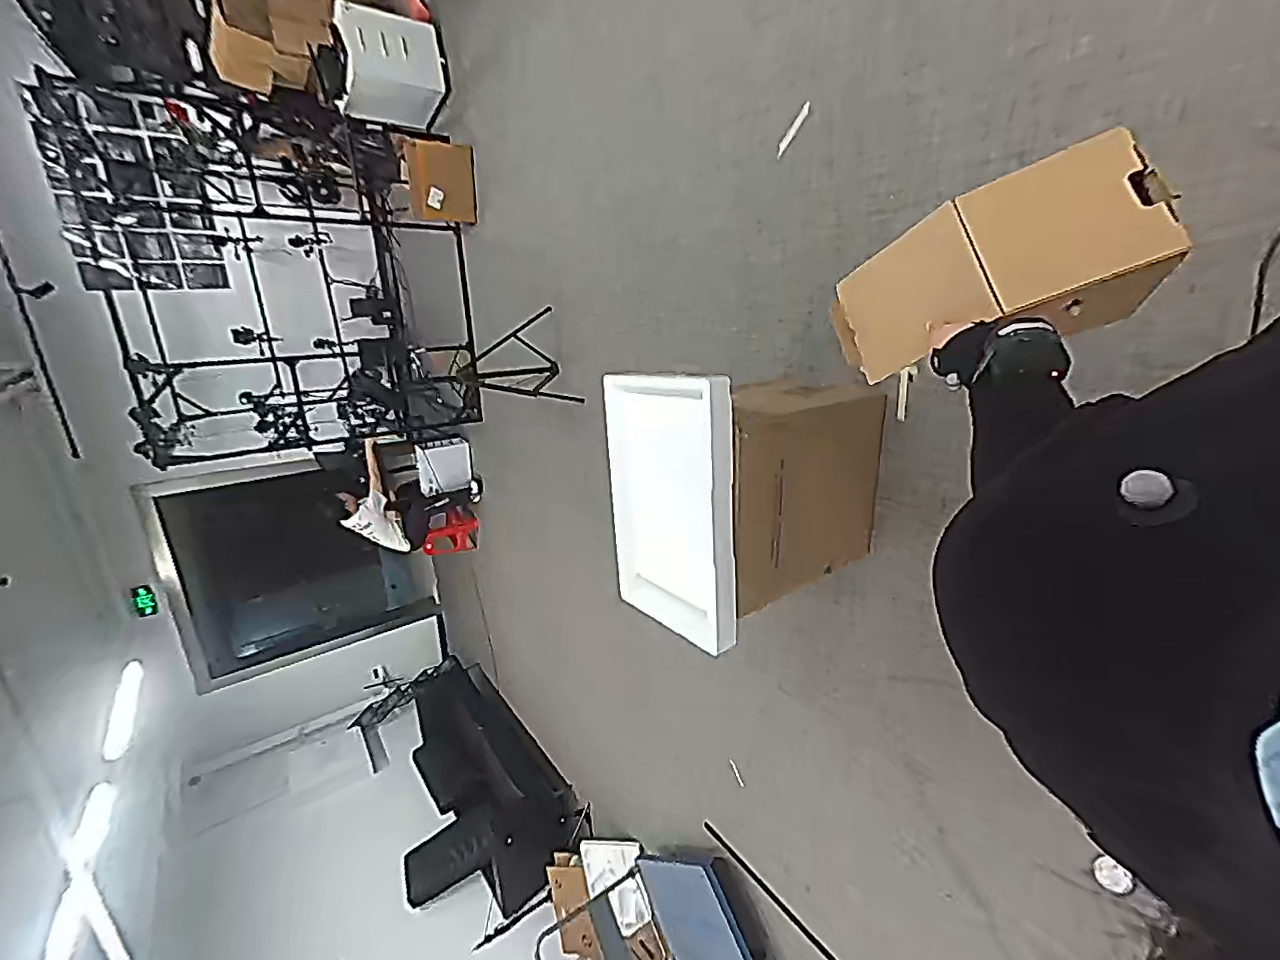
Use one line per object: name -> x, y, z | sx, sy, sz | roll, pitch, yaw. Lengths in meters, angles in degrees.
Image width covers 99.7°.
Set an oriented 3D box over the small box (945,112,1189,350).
small box -> 0.492, -0.284, 0.663 | 0.179, 0.176, 0.168 | -18, 75, 21
